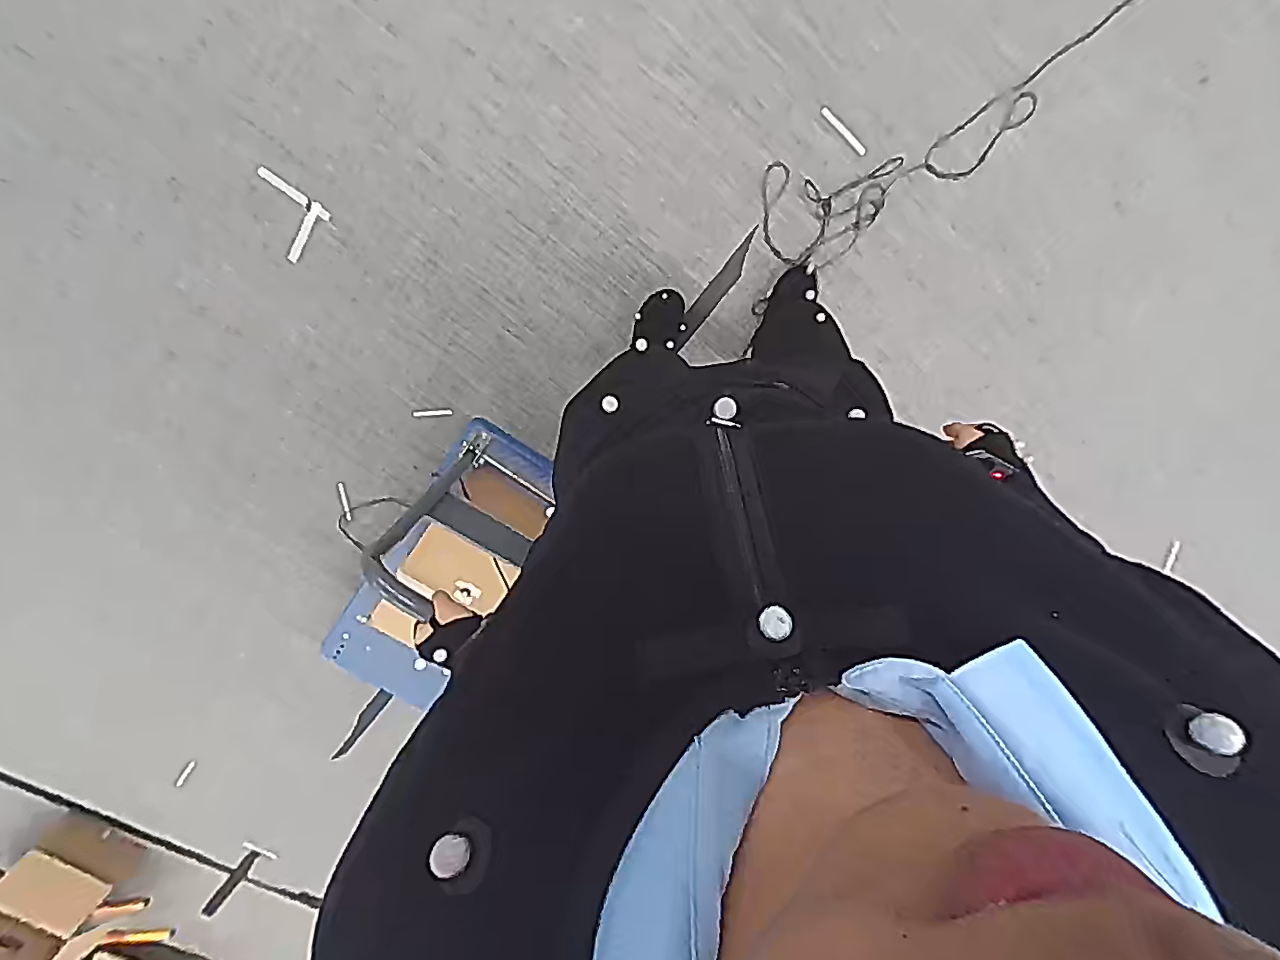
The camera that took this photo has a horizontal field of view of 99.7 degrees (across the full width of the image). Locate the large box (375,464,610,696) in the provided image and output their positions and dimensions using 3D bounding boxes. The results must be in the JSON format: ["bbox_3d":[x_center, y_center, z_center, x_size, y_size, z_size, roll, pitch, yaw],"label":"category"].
[{"bbox_3d":[-0.325,0.228,1.301,0.408,0.320,0.320,35,107,-12],"label":"large box"}]
